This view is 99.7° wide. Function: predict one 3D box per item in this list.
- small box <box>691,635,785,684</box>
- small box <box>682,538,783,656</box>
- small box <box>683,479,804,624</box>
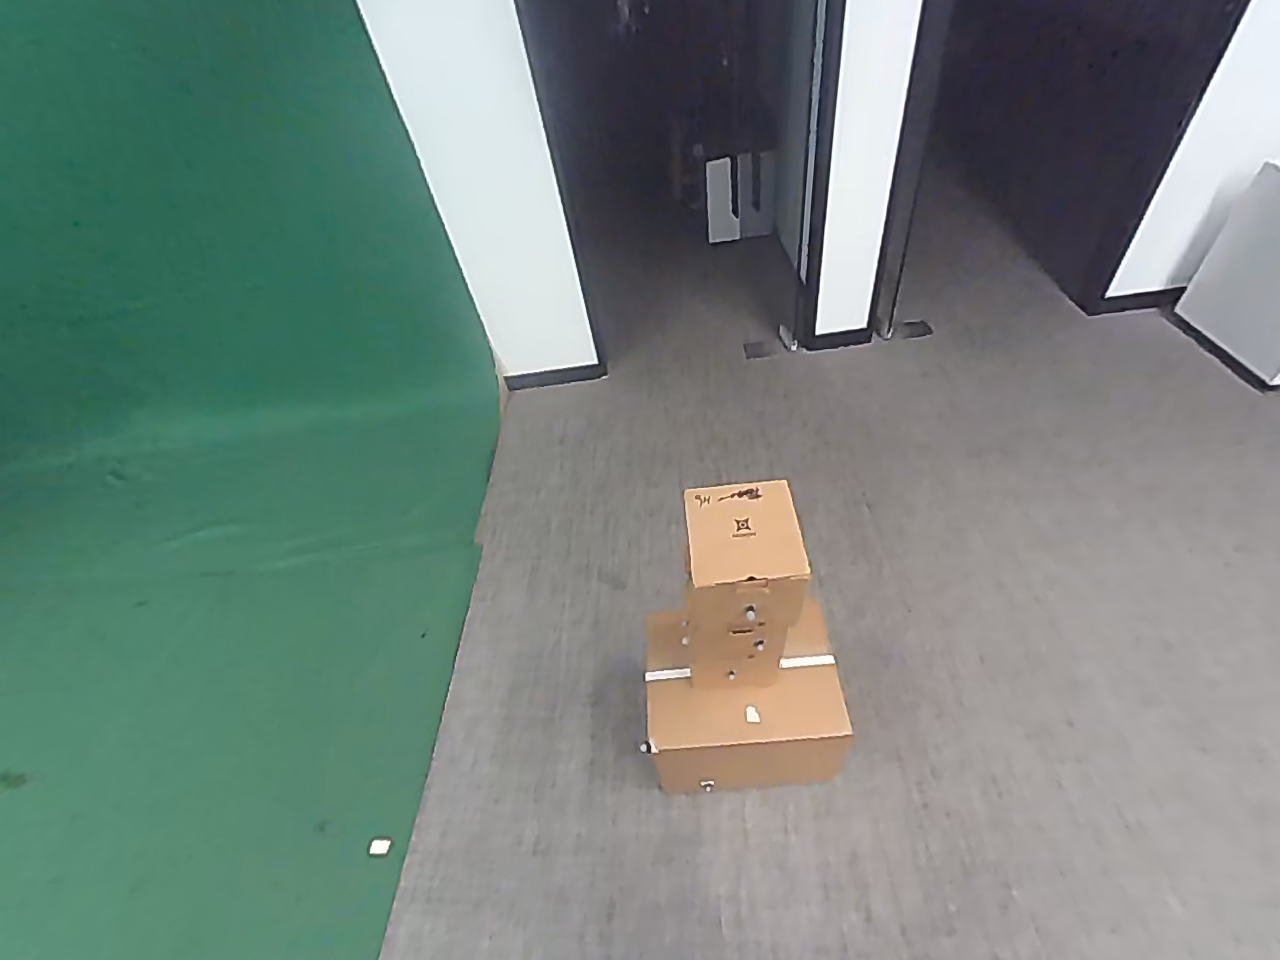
[{"bbox_3d":[0.194,0.318,1.137,0.179,0.176,0.168,-7,52,4],"label":"small box"},{"bbox_3d":[0.171,0.219,1.011,0.168,0.176,0.179,-6,51,4],"label":"small box"},{"bbox_3d":[0.162,0.124,0.878,0.168,0.176,0.179,-6,52,5],"label":"small box"}]
